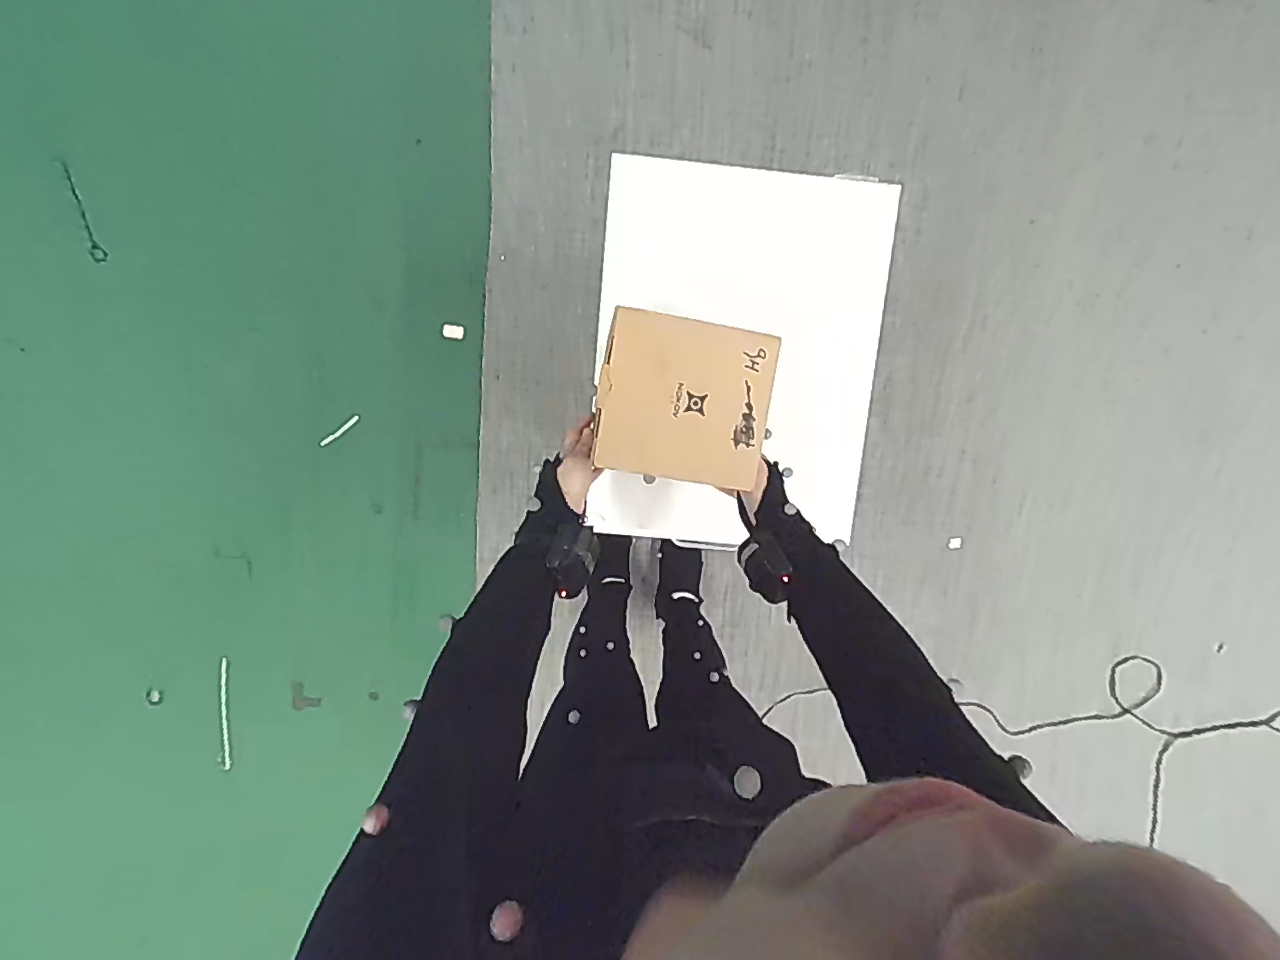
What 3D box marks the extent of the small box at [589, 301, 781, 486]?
[{"bbox_3d":[0.040,-0.091,0.628,0.179,0.176,0.168,9,94,-6],"label":"small box"}]
